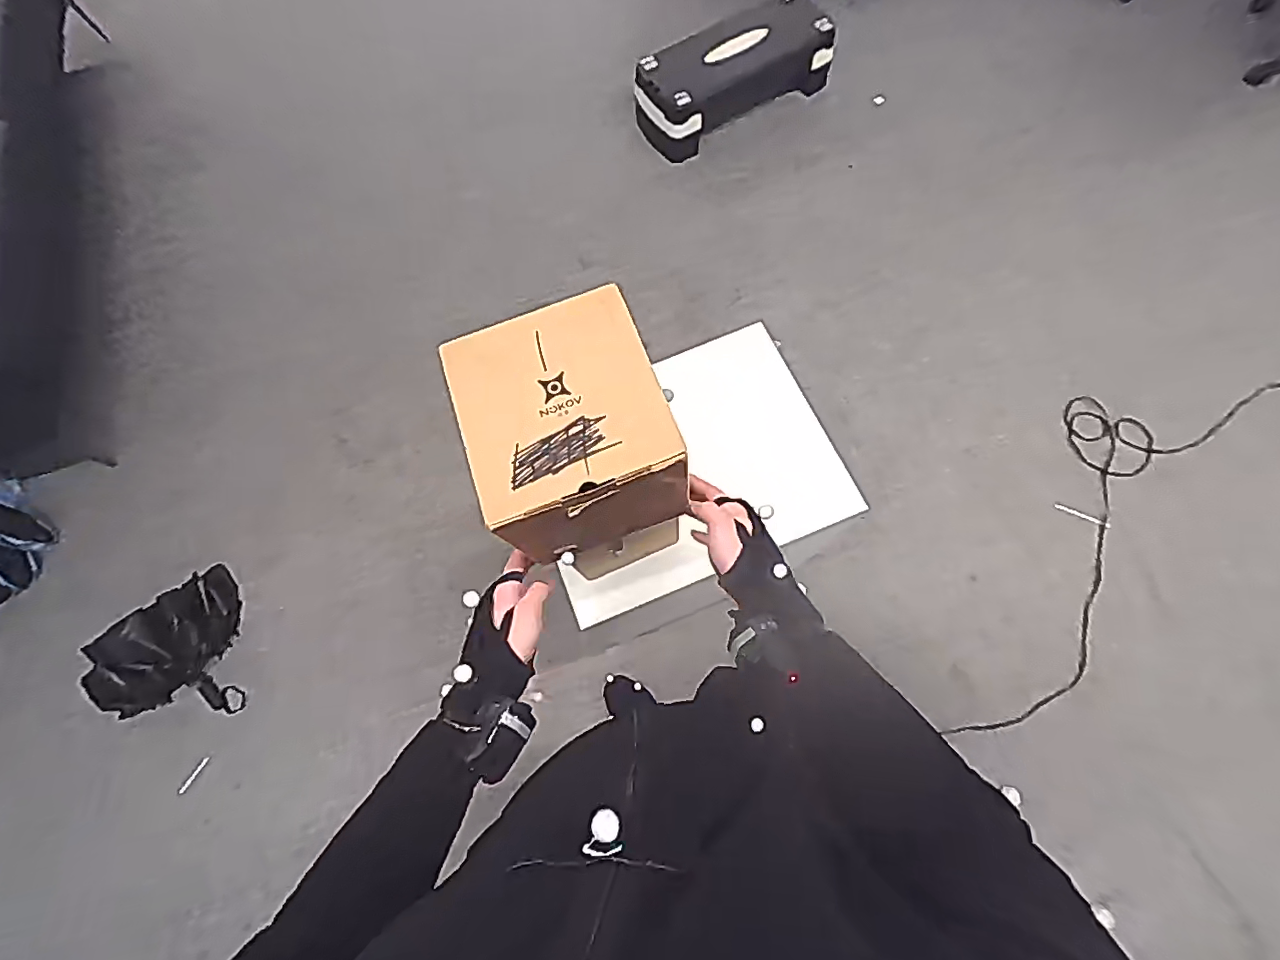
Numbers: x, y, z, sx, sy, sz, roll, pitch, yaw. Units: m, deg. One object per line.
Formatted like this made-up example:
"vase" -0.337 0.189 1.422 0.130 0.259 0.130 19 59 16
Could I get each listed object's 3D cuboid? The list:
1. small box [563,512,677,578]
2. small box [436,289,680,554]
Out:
"small box" -0.051 0.034 0.838 0.168 0.176 0.179 -23 72 -3
"small box" -0.066 -0.039 0.516 0.168 0.176 0.179 -20 70 -1
